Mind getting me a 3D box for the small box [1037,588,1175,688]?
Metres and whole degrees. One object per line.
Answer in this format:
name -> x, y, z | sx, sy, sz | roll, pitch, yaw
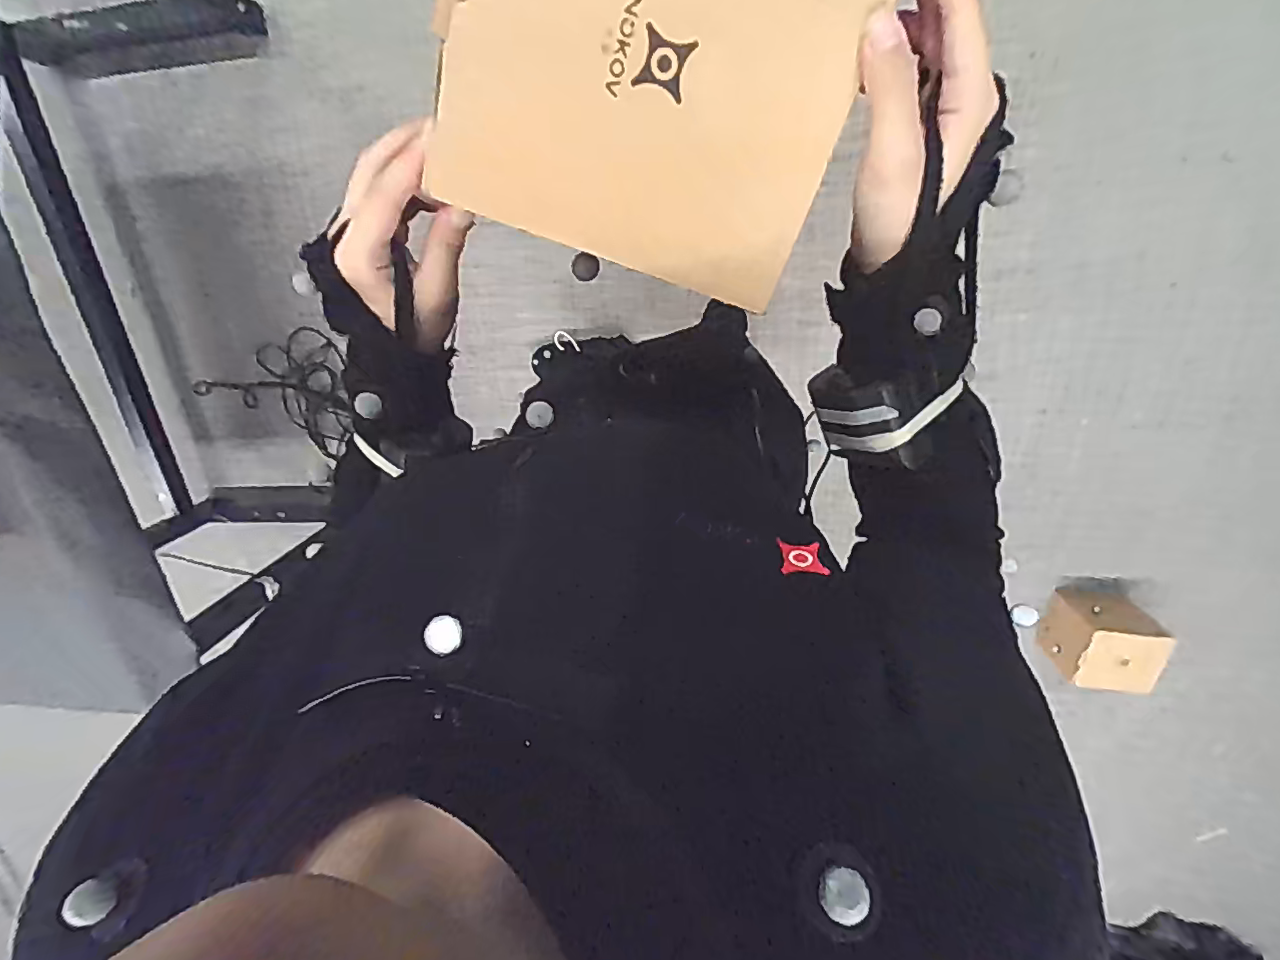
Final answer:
small box -> 1.129, 0.381, 1.332 | 0.179, 0.176, 0.168 | 3, 114, 5
